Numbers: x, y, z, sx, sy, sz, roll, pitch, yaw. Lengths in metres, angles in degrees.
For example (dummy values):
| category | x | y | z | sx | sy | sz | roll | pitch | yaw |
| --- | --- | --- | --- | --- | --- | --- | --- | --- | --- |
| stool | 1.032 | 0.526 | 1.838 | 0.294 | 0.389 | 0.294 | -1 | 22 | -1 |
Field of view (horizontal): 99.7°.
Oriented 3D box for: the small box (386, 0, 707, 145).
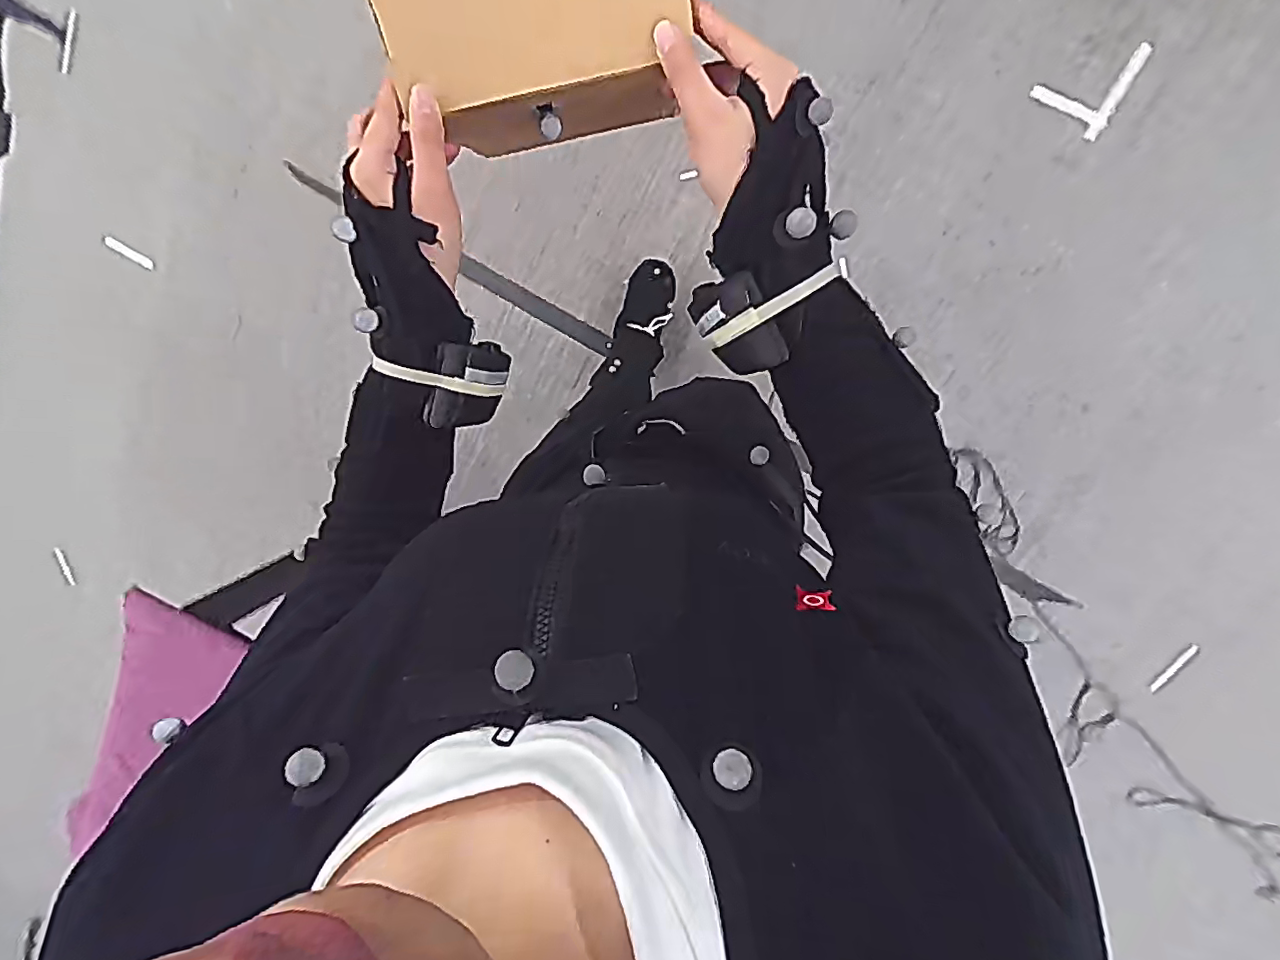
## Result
| category | x | y | z | sx | sy | sz | roll | pitch | yaw |
| --- | --- | --- | --- | --- | --- | --- | --- | --- | --- |
| small box | -0.058 | -0.336 | 0.352 | 0.179 | 0.176 | 0.168 | -8 | 114 | 6 |
